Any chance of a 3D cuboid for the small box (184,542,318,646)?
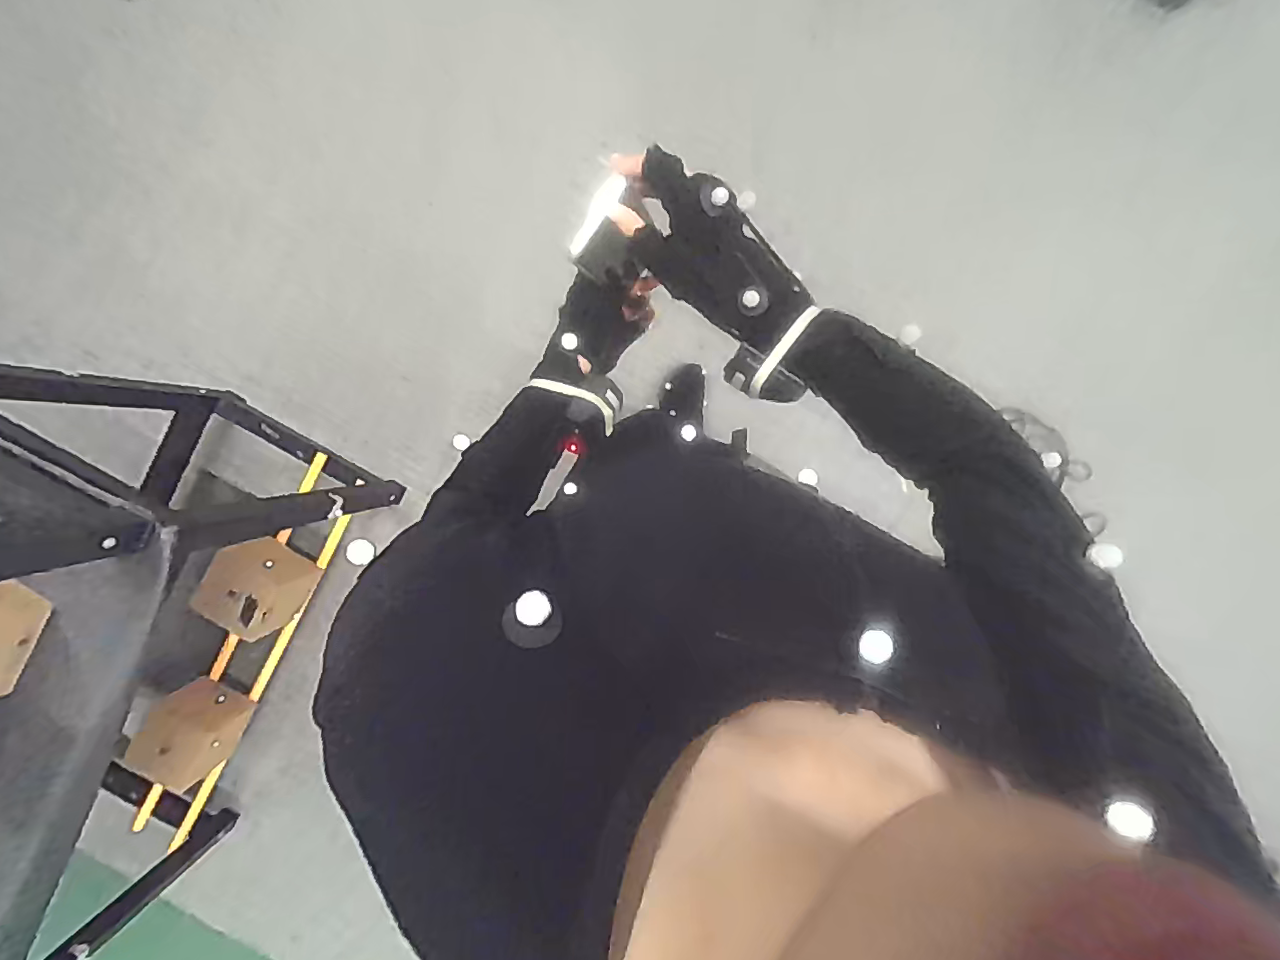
[{"bbox_3d":[-0.950,0.271,1.339,0.179,0.176,0.168,33,95,0],"label":"small box"}]
